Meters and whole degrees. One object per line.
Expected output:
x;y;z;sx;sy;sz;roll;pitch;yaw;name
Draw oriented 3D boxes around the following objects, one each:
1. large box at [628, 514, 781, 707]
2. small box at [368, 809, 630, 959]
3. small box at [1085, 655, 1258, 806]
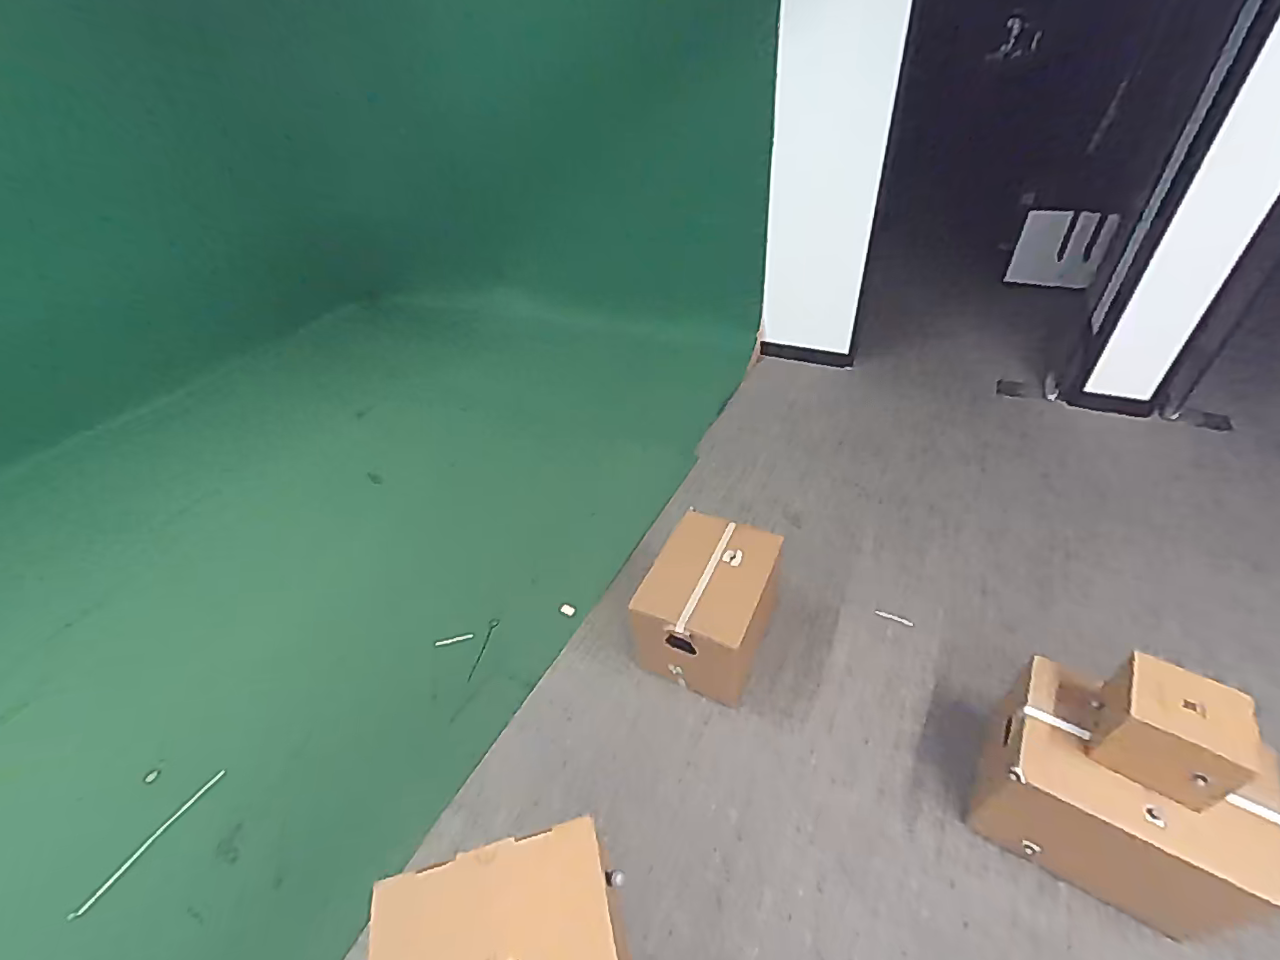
0.202;0.373;1.599;0.320;0.320;0.408;16;45;24;large box
-0.091;0.387;0.409;0.168;0.176;0.179;-12;45;-8;small box
0.986;0.473;1.014;0.179;0.176;0.168;24;47;30;small box
